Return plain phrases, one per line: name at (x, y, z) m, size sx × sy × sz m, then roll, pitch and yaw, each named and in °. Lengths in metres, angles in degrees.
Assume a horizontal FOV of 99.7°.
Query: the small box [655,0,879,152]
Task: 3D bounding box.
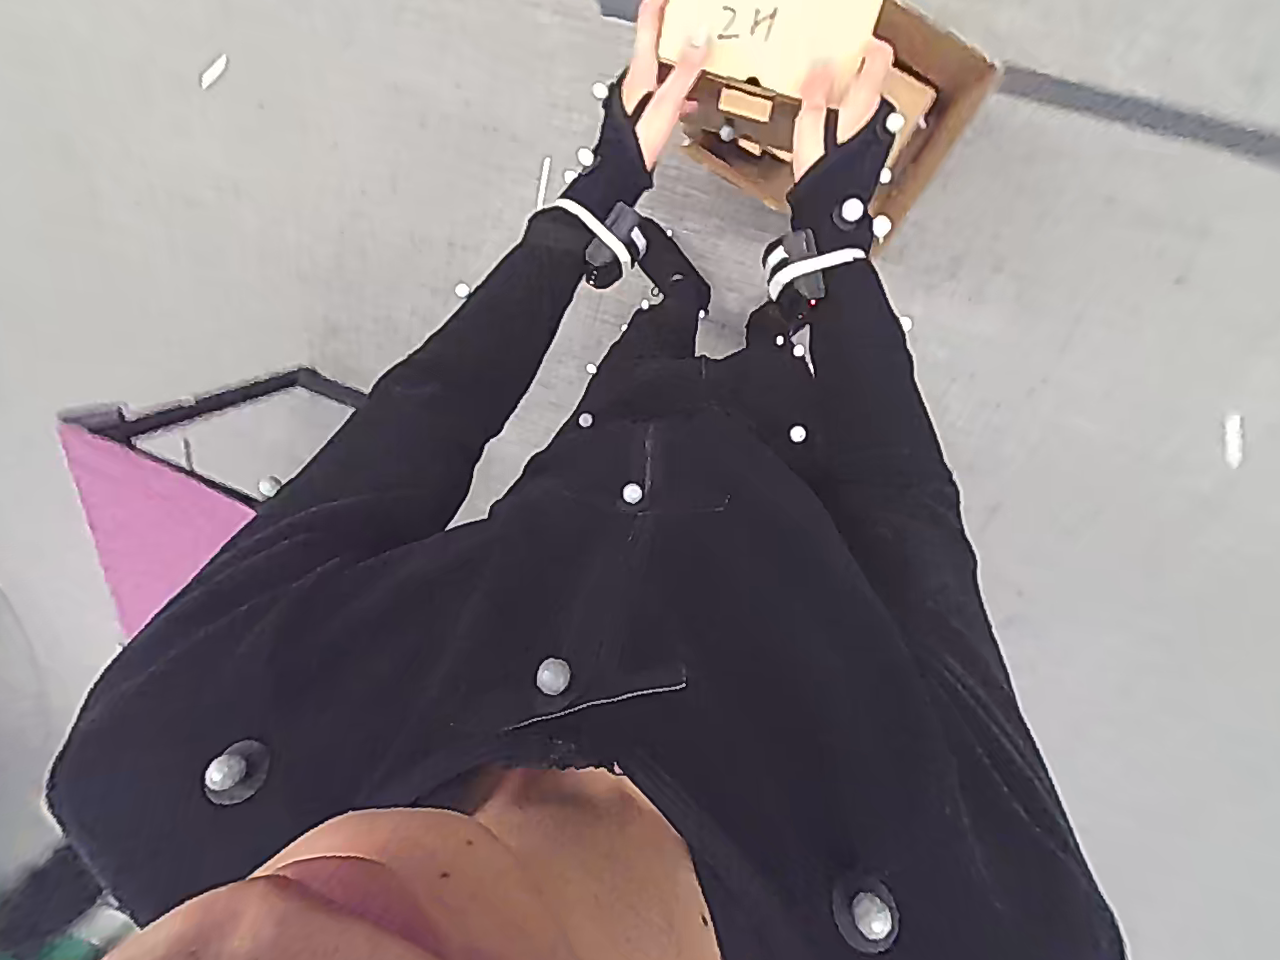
small box at (0.110, -0.428, 0.487) m, size 0.168 × 0.176 × 0.179 m, roll 13°, pitch 111°, yaw -4°
